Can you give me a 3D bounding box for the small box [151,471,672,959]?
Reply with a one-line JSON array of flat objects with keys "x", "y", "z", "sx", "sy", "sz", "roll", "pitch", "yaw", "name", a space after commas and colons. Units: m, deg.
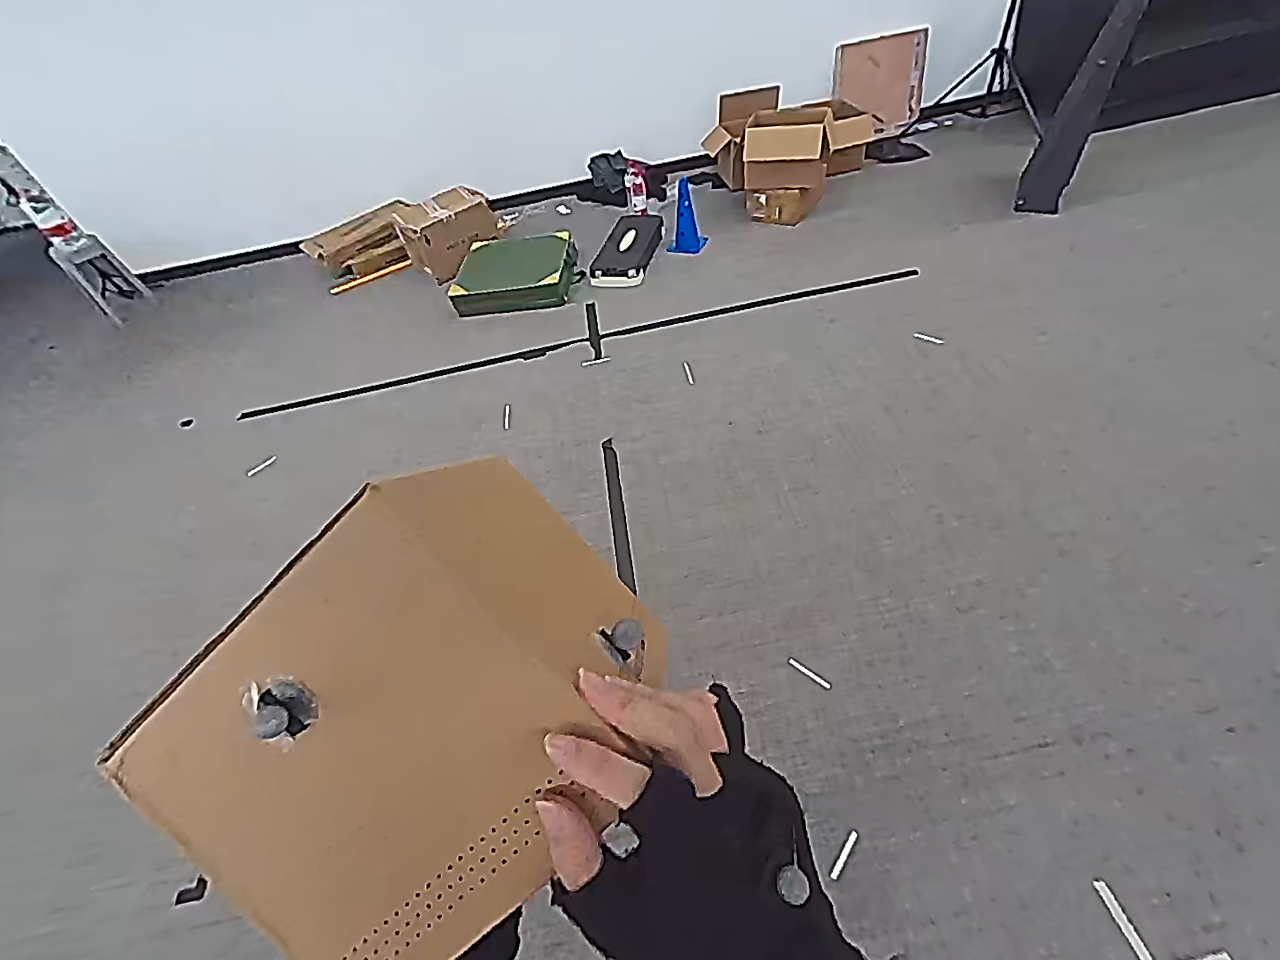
[{"x": -0.101, "y": 0.119, "z": 0.316, "sx": 0.179, "sy": 0.168, "sz": 0.176, "roll": -42, "pitch": 93, "yaw": 6, "name": "small box"}]
